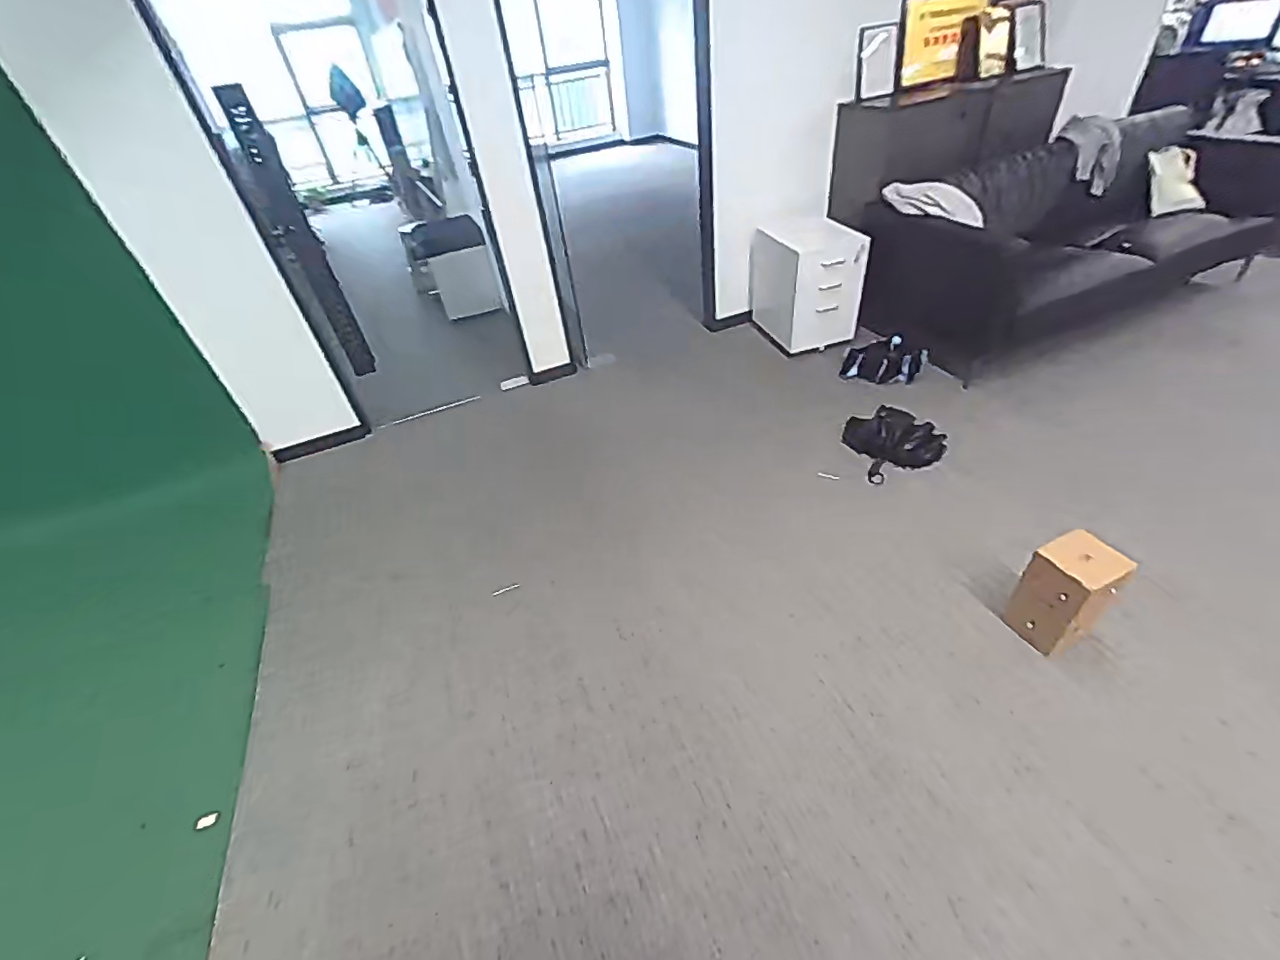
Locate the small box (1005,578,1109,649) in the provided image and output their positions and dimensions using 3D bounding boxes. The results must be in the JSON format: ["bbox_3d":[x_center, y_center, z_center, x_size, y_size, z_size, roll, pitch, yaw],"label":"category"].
[{"bbox_3d":[1.248,0.379,1.636,0.179,0.176,0.168,-22,43,-14],"label":"small box"}]

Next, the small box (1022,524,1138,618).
[{"bbox_3d":[1.227,0.260,1.527,0.179,0.176,0.168,-21,44,-15],"label":"small box"}]
